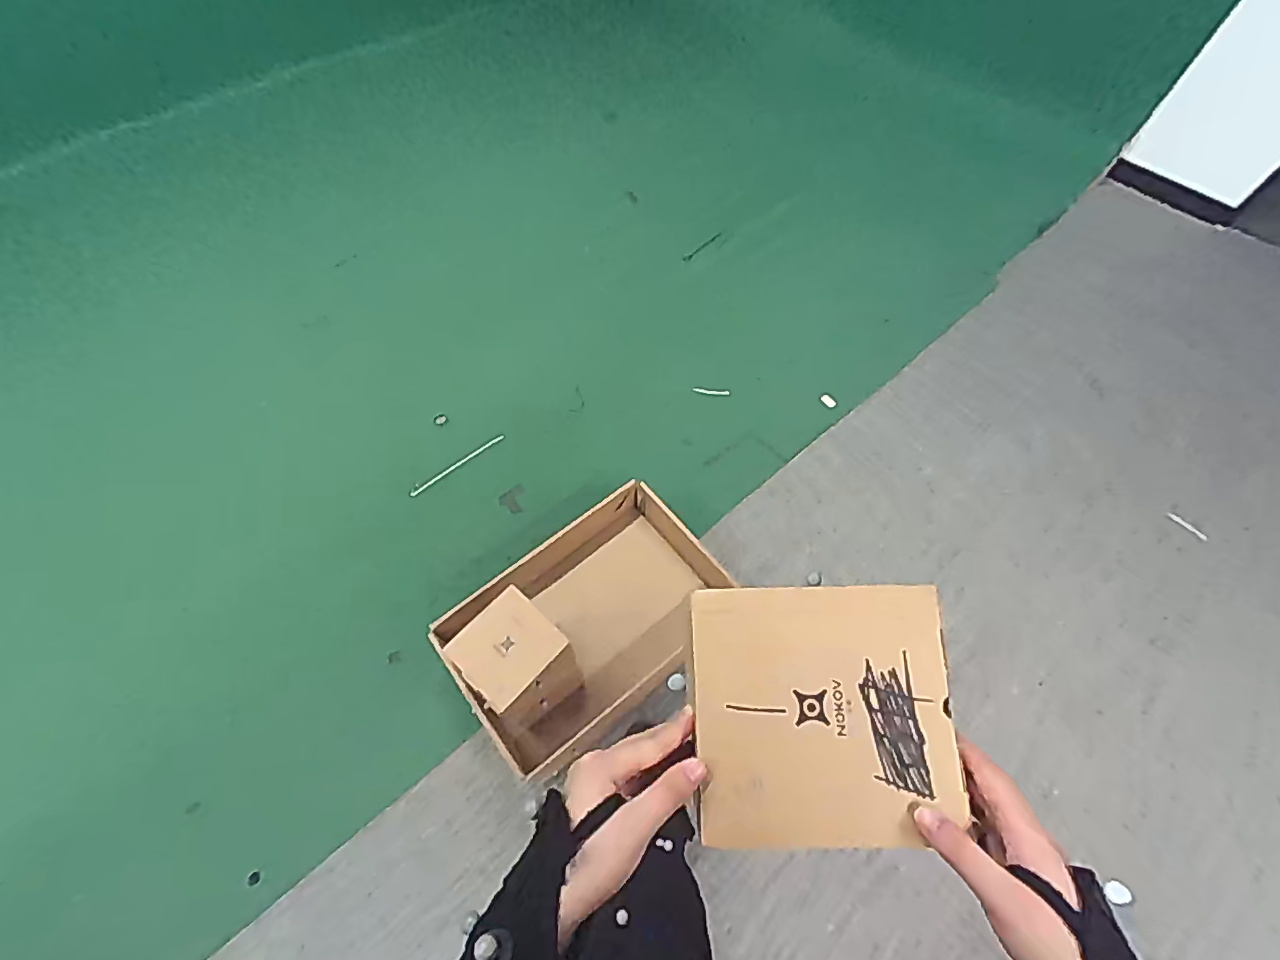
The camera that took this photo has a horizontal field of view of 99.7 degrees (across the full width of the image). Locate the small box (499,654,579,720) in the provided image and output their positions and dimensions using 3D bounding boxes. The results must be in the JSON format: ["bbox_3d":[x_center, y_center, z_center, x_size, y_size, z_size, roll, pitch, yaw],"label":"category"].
[{"bbox_3d":[-0.253,0.412,1.208,0.179,0.176,0.168,-34,68,-18],"label":"small box"}]

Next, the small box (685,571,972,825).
[{"bbox_3d":[0.131,0.165,0.449,0.179,0.176,0.168,-1,75,2],"label":"small box"}]

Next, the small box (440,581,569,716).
[{"bbox_3d":[-0.253,0.337,1.063,0.168,0.176,0.179,39,65,16],"label":"small box"}]
